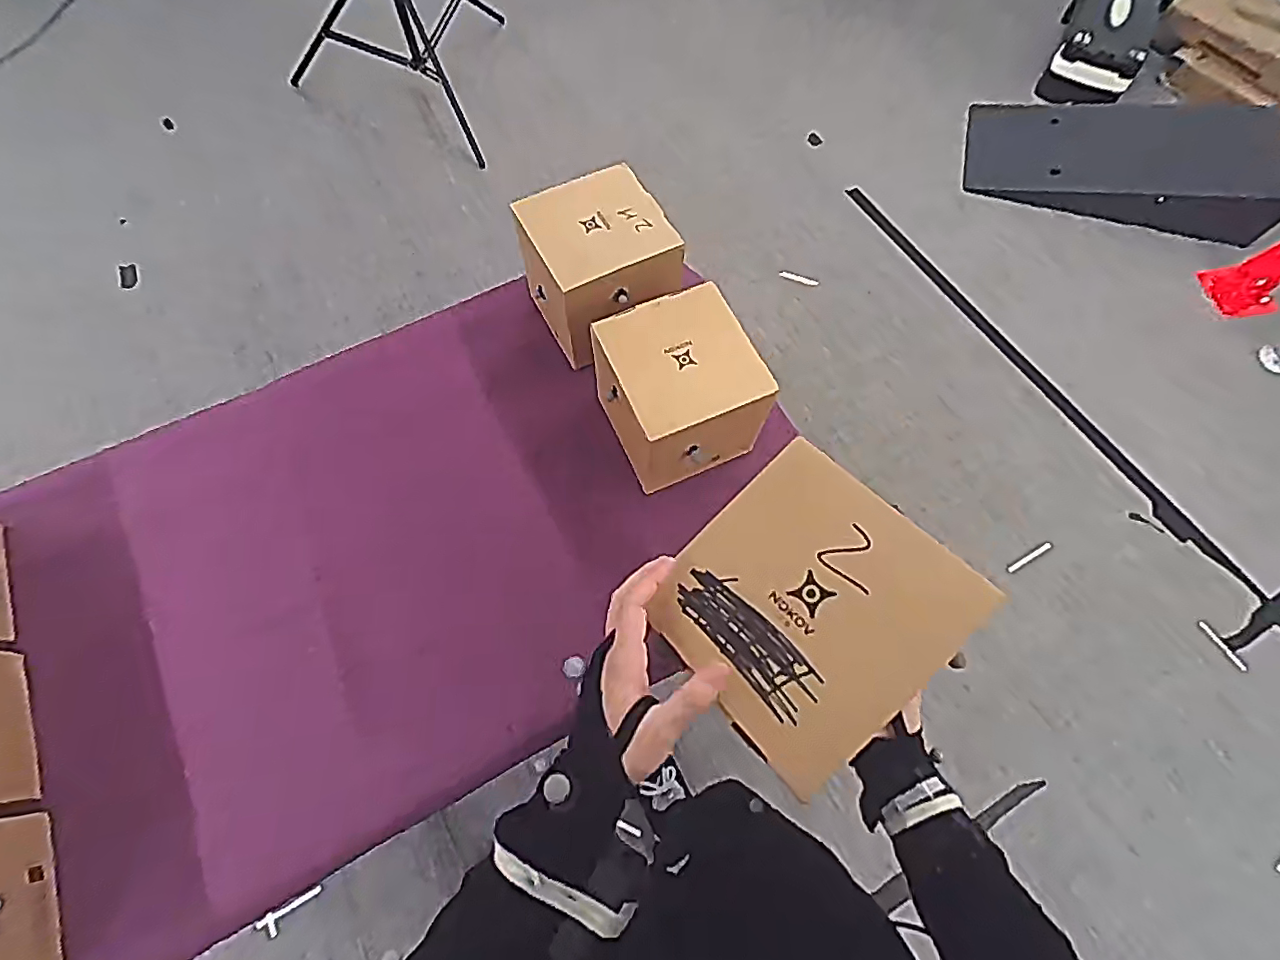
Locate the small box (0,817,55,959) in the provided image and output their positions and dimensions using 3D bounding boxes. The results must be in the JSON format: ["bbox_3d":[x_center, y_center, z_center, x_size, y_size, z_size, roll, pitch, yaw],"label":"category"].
[{"bbox_3d":[-0.670,0.426,0.466,0.179,0.176,0.168,-26,69,-12],"label":"small box"}]

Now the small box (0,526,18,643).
[{"bbox_3d":[-0.854,0.130,0.581,0.179,0.176,0.168,-25,72,-12],"label":"small box"}]

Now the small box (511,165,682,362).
[{"bbox_3d":[-0.058,-0.297,0.768,0.179,0.176,0.168,-26,72,-12],"label":"small box"}]

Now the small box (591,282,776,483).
[{"bbox_3d":[0.050,-0.113,0.702,0.168,0.176,0.179,-22,69,-9],"label":"small box"}]
